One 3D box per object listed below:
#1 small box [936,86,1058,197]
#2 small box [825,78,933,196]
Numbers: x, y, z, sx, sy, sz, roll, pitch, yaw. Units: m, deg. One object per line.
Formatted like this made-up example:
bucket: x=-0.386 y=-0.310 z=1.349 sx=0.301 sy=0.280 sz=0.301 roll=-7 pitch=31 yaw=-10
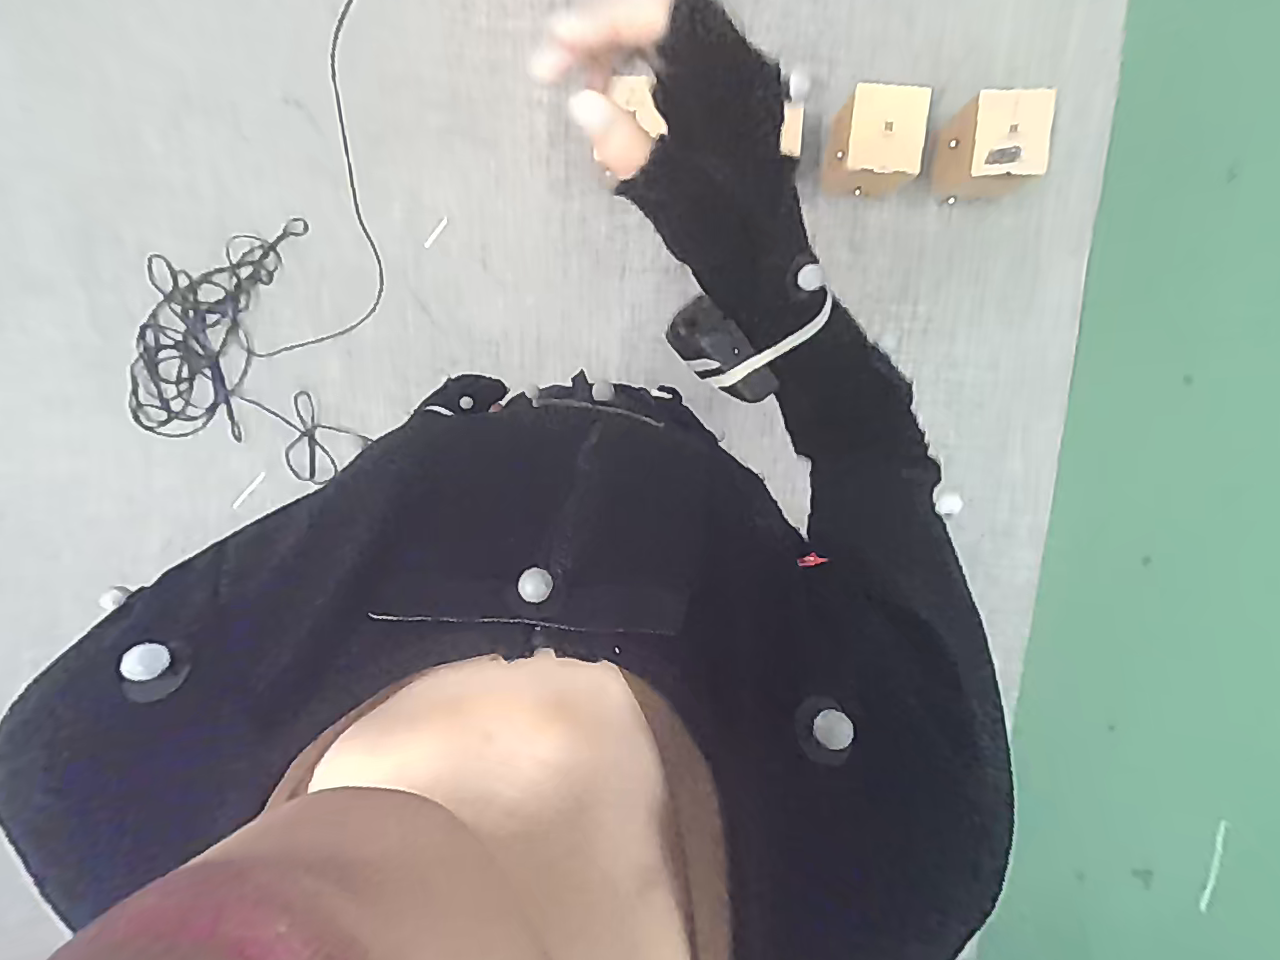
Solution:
small box: x=0.813 y=-0.772 z=1.250 sx=0.168 sy=0.176 sz=0.179 roll=1 pitch=99 yaw=1
small box: x=0.544 y=-0.787 z=1.255 sx=0.168 sy=0.176 sz=0.179 roll=4 pitch=100 yaw=0
